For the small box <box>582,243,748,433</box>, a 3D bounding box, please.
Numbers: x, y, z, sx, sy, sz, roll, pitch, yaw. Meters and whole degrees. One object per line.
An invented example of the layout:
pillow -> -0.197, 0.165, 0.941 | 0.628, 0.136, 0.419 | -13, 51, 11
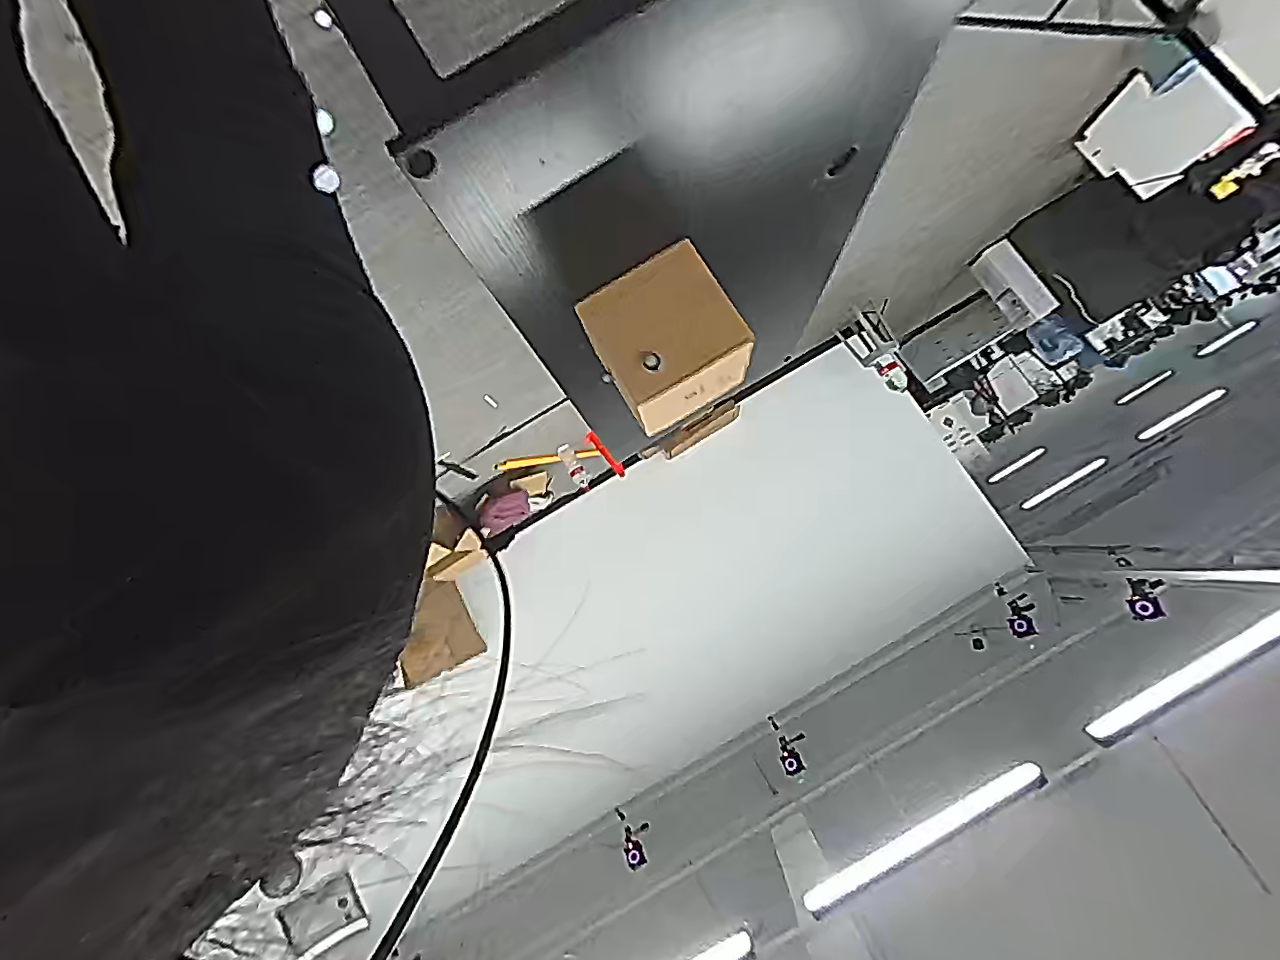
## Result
small box -> 0.031, -0.197, 0.782 | 0.179, 0.176, 0.168 | -32, 170, 0
